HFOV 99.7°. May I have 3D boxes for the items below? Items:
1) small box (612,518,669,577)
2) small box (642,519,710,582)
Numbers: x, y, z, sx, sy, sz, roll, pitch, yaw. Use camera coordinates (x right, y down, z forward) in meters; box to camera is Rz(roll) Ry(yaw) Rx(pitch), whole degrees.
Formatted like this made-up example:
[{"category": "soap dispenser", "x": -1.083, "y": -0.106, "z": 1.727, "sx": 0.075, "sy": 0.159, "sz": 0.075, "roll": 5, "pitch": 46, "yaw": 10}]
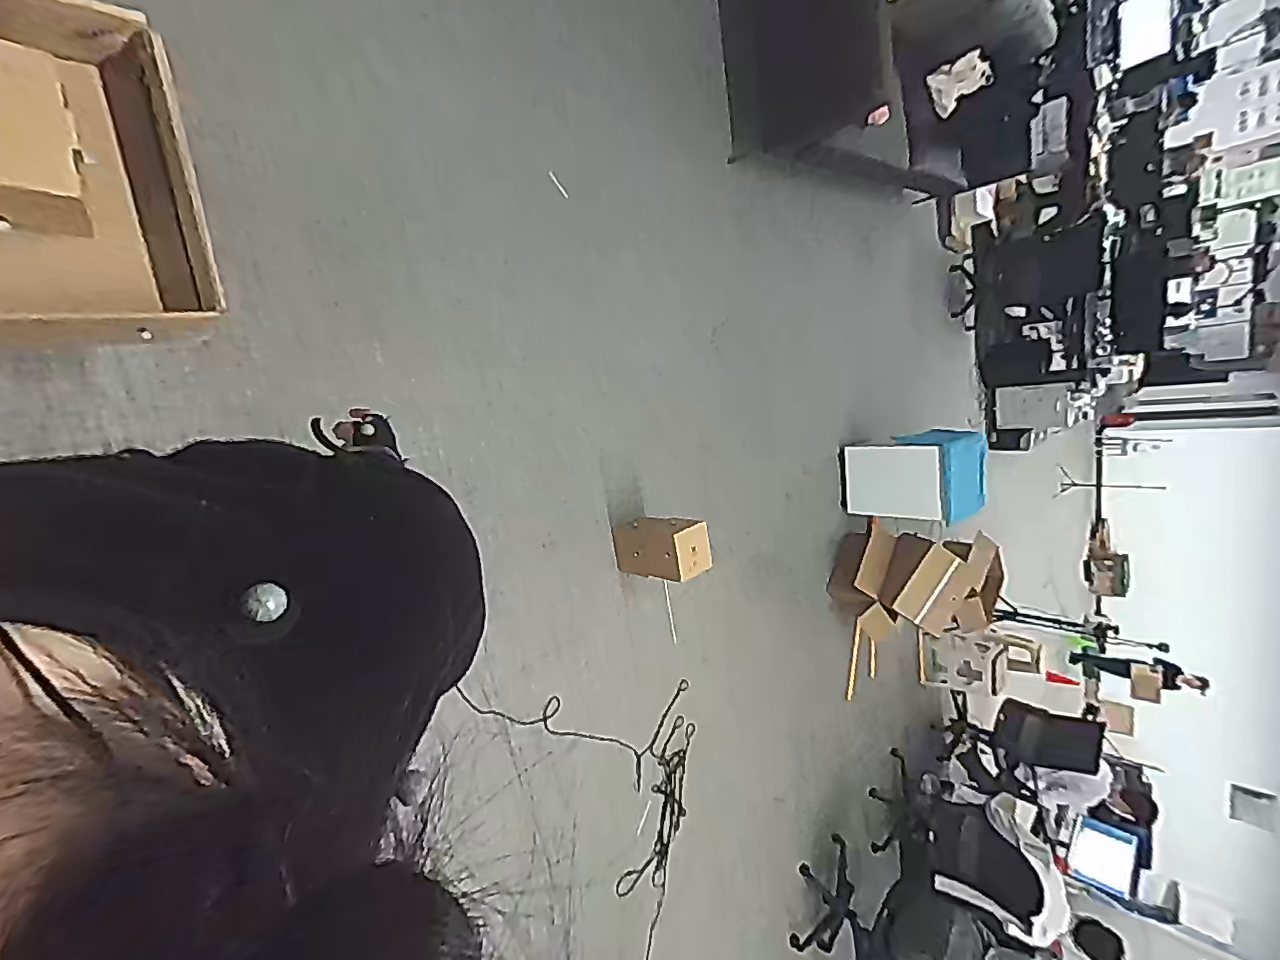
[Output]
[{"category": "small box", "x": 0.013, "y": 0.245, "z": 2.026, "sx": 0.168, "sy": 0.176, "sz": 0.179, "roll": -18, "pitch": 104, "yaw": -41}, {"category": "small box", "x": 0.123, "y": 0.240, "z": 1.903, "sx": 0.168, "sy": 0.176, "sz": 0.179, "roll": -18, "pitch": 104, "yaw": -40}]
